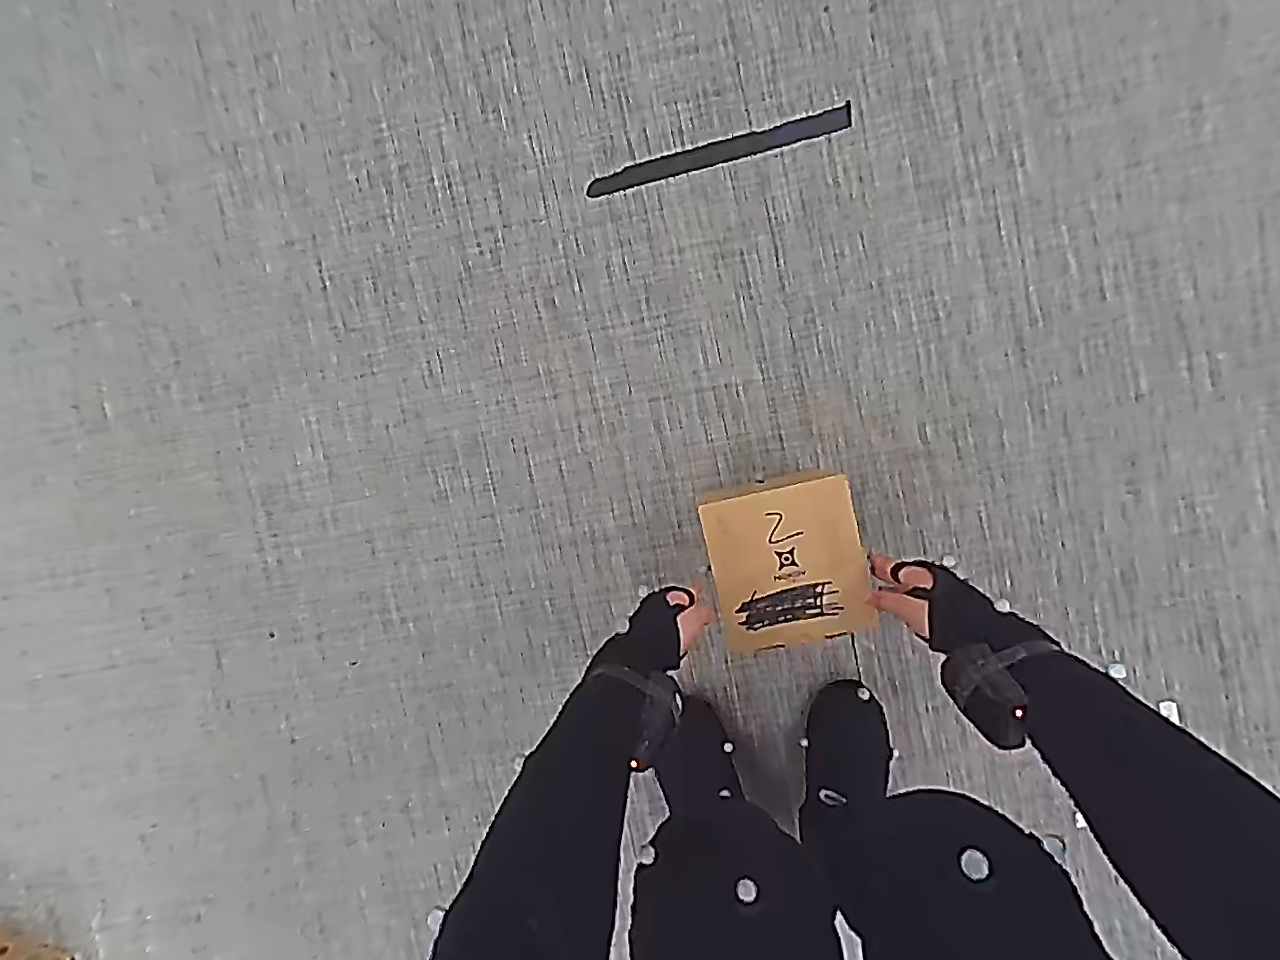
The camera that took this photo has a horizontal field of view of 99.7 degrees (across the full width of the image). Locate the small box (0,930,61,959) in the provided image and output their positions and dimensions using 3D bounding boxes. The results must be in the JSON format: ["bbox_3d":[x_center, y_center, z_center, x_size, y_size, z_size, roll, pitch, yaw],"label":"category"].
[{"bbox_3d":[-1.033,0.848,0.814,0.168,0.176,0.179,14,93,5],"label":"small box"}]
